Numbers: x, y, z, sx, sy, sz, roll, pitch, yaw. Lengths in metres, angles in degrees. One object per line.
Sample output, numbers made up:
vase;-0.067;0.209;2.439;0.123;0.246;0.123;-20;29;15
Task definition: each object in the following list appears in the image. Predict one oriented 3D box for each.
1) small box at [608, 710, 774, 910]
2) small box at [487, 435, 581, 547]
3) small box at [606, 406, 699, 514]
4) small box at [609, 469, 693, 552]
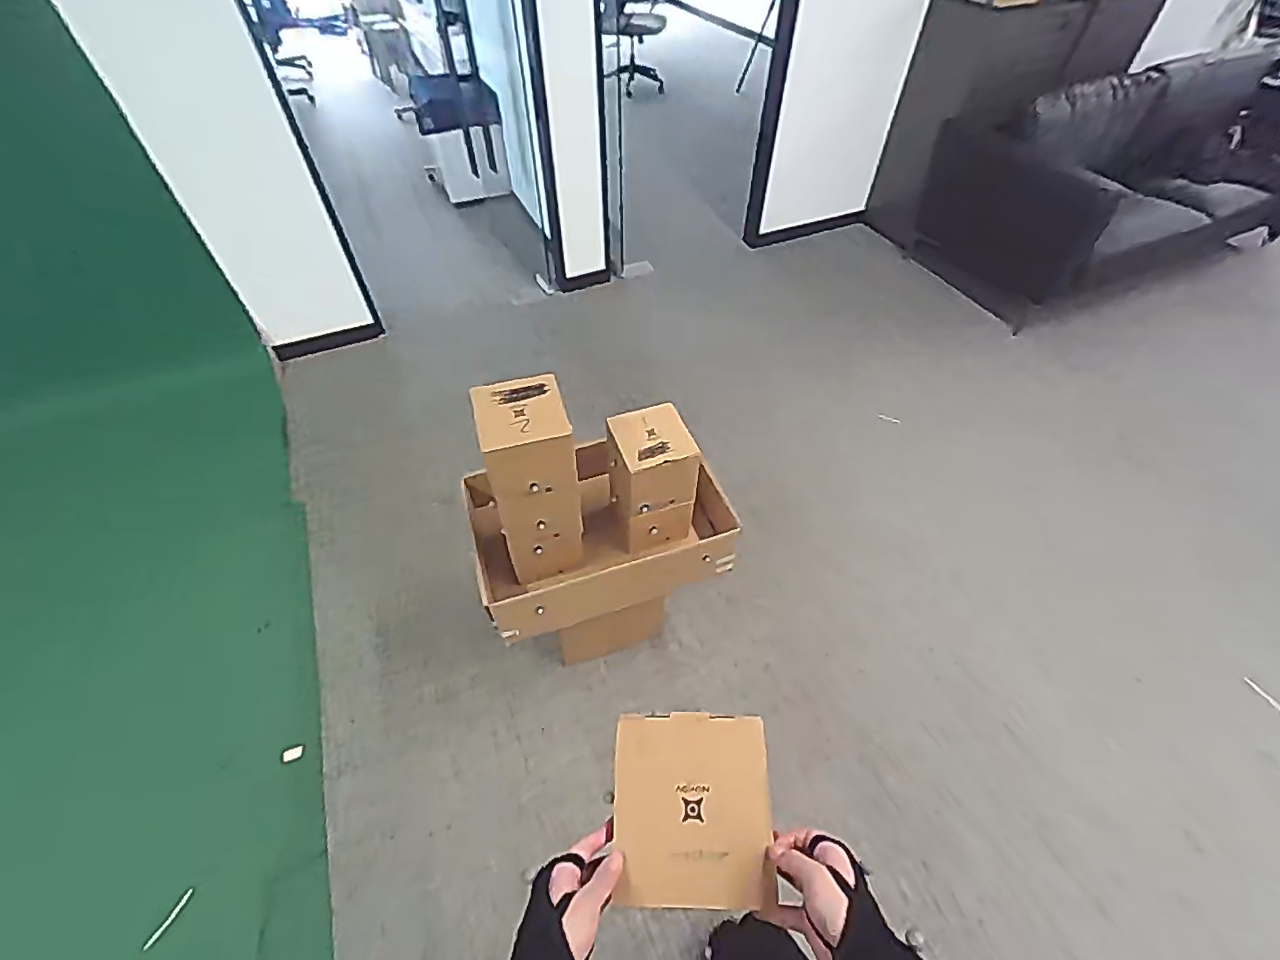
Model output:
small box;0.053;0.379;0.637;0.168;0.176;0.179;1;61;2
small box;-0.231;0.031;1.200;0.168;0.176;0.179;-13;52;-12
small box;0.027;-0.040;1.262;0.168;0.176;0.179;-15;51;-12
small box;0.026;0.065;1.388;0.168;0.176;0.179;-15;52;-12
